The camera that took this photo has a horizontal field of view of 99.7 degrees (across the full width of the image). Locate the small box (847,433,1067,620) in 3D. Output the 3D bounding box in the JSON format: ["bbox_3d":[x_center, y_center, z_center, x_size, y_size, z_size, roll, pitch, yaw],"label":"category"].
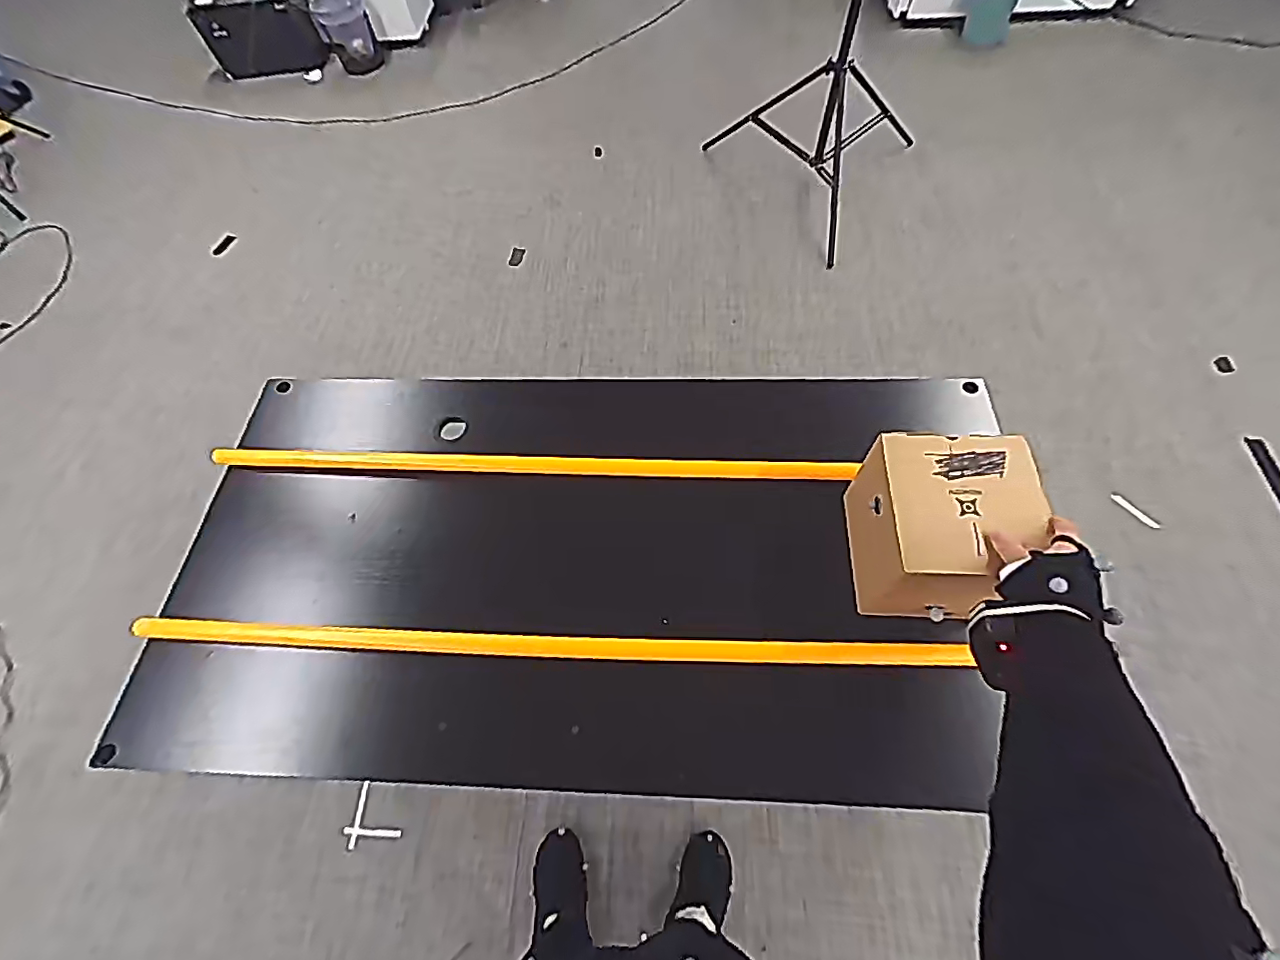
[{"bbox_3d":[0.367,0.061,0.668,0.168,0.176,0.179,2,62,6],"label":"small box"}]
